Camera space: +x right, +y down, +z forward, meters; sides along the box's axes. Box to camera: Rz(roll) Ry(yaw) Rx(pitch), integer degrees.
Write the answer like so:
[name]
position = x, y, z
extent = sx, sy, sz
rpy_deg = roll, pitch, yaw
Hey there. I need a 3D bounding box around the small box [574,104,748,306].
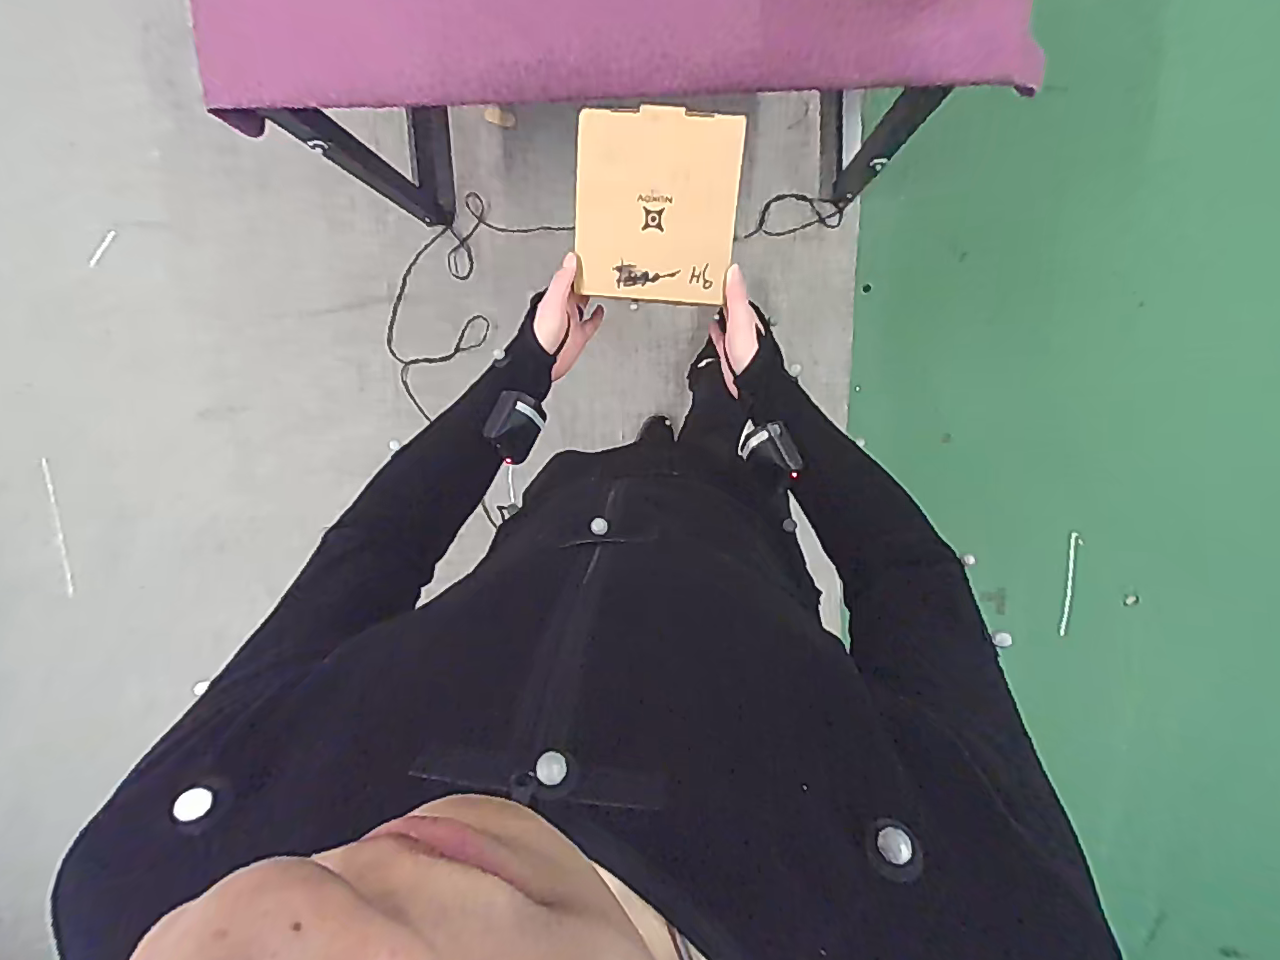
[small box]
position = 0.025, -0.302, 0.627
extent = 0.168, 0.176, 0.179
rpy_deg = 6, 108, 5
